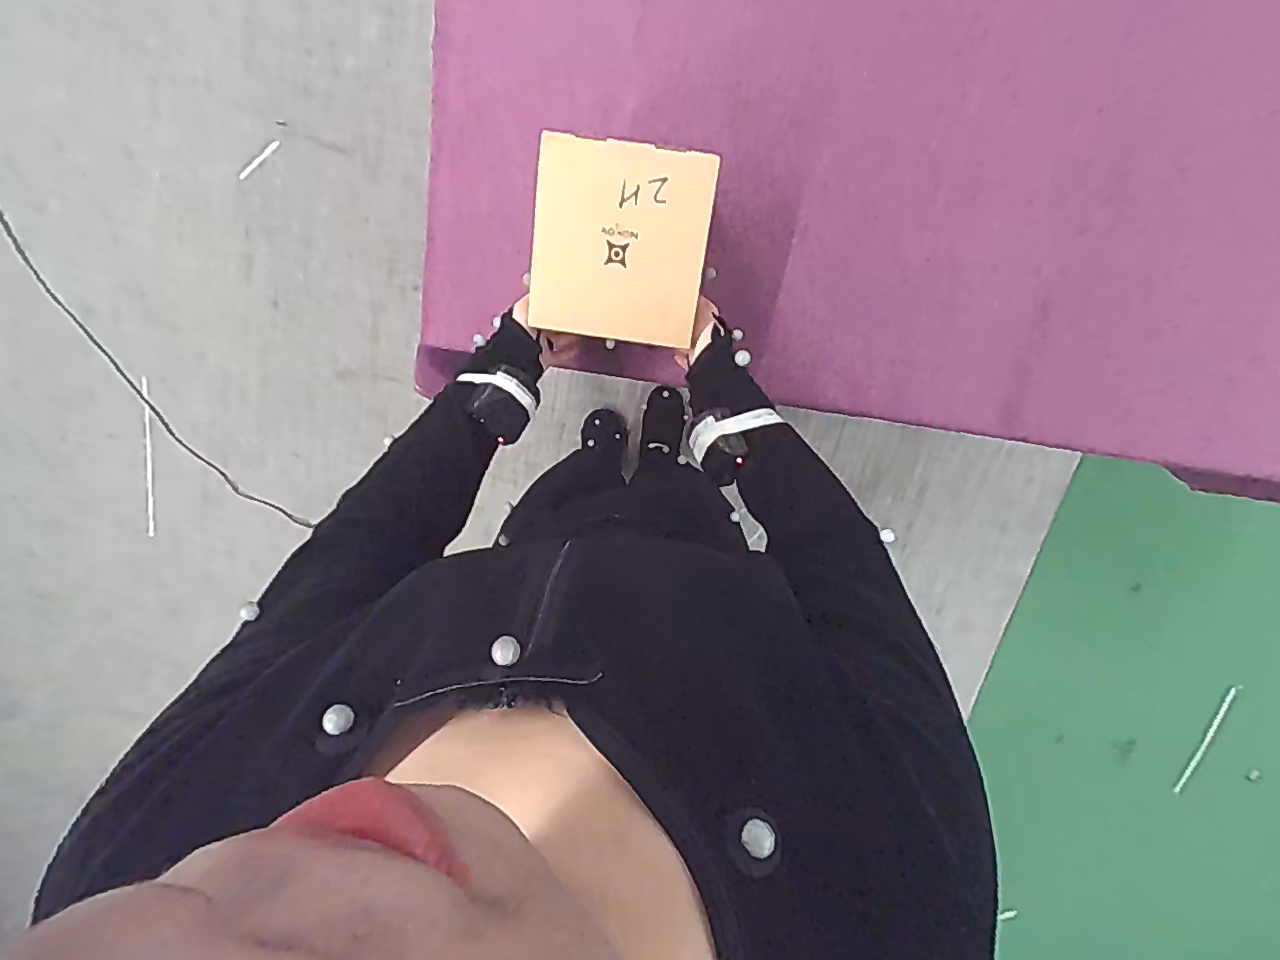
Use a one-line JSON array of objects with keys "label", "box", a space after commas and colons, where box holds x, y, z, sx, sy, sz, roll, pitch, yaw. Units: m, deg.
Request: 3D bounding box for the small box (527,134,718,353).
[{"label": "small box", "box": [-0.016, -0.243, 0.591, 0.168, 0.176, 0.179, 9, 106, 1]}]
